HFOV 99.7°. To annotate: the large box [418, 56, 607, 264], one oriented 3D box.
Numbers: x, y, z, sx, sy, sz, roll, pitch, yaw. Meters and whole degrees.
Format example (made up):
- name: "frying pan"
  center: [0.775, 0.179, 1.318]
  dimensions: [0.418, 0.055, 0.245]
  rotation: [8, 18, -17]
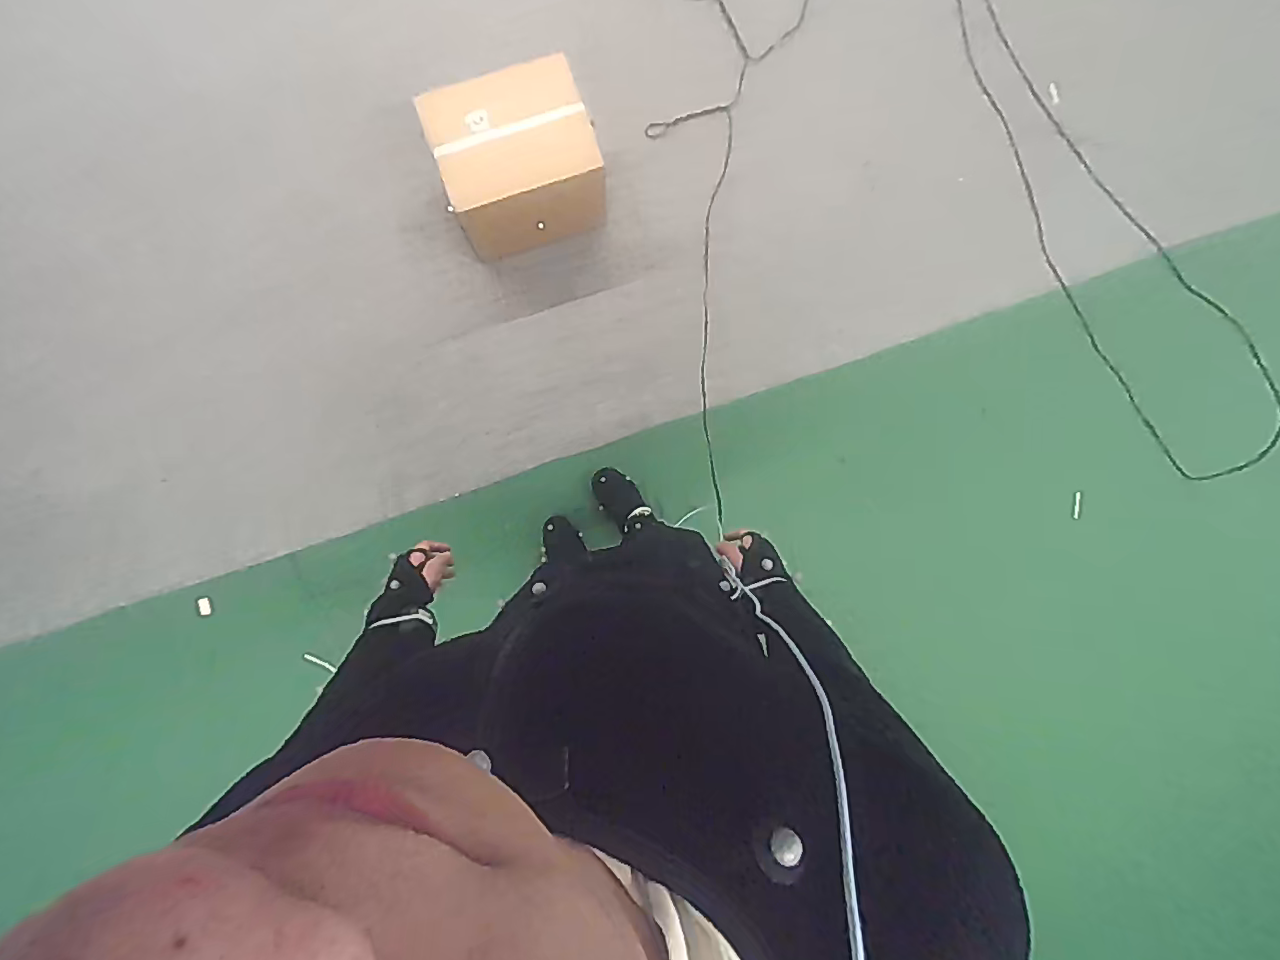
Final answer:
- name: "large box"
  center: [-0.332, -0.874, 1.524]
  dimensions: [0.408, 0.320, 0.320]
  rotation: [-21, 89, -3]
